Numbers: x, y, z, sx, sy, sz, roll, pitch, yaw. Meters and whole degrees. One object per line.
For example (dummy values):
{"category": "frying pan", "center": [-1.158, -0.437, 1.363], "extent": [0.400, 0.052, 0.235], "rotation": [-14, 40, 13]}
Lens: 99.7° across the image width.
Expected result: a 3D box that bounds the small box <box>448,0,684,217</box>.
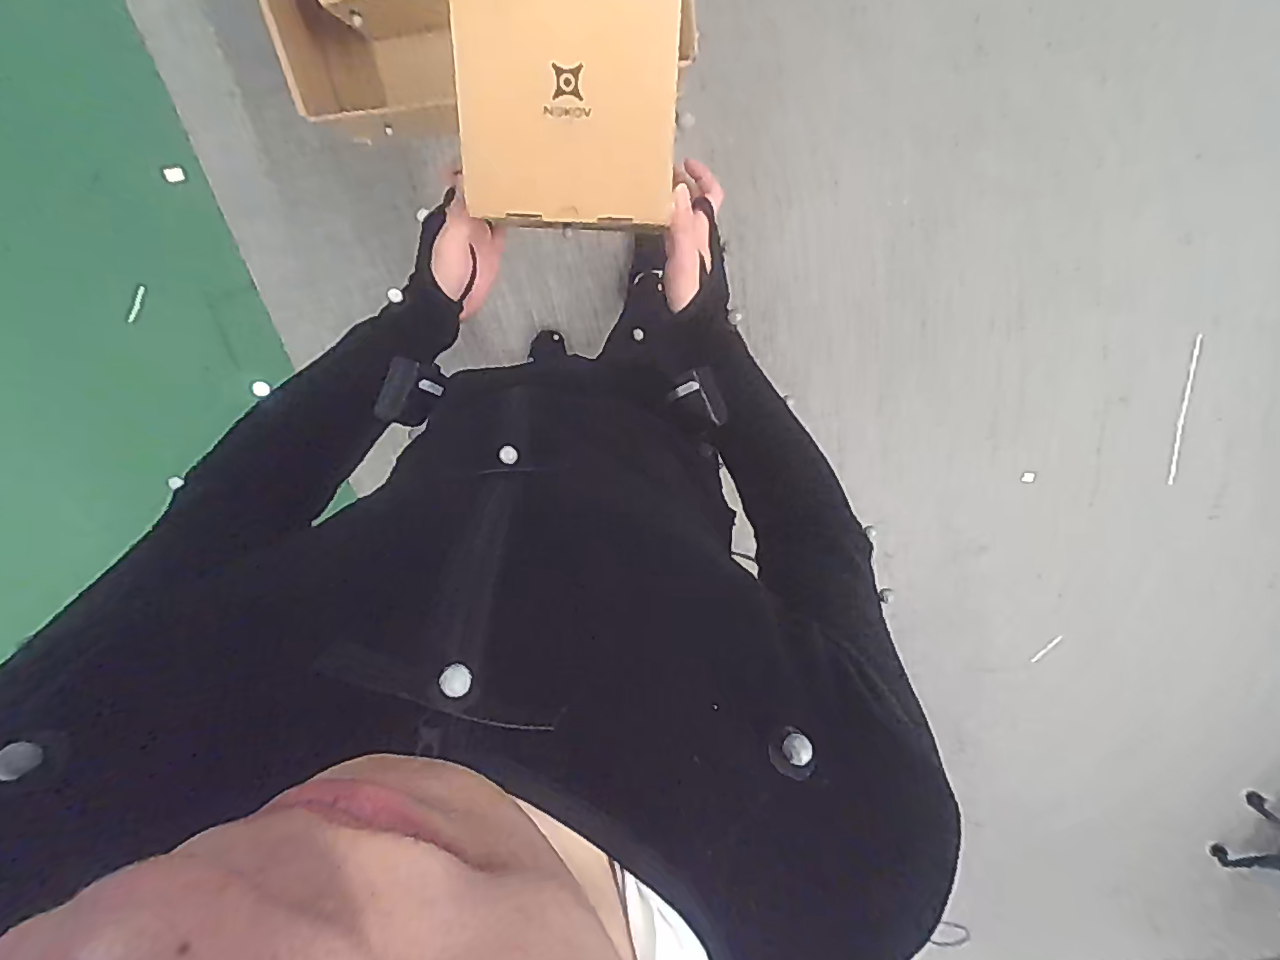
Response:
{"category": "small box", "center": [-0.054, -0.327, 0.460], "extent": [0.168, 0.176, 0.179], "rotation": [1, 114, -1]}
